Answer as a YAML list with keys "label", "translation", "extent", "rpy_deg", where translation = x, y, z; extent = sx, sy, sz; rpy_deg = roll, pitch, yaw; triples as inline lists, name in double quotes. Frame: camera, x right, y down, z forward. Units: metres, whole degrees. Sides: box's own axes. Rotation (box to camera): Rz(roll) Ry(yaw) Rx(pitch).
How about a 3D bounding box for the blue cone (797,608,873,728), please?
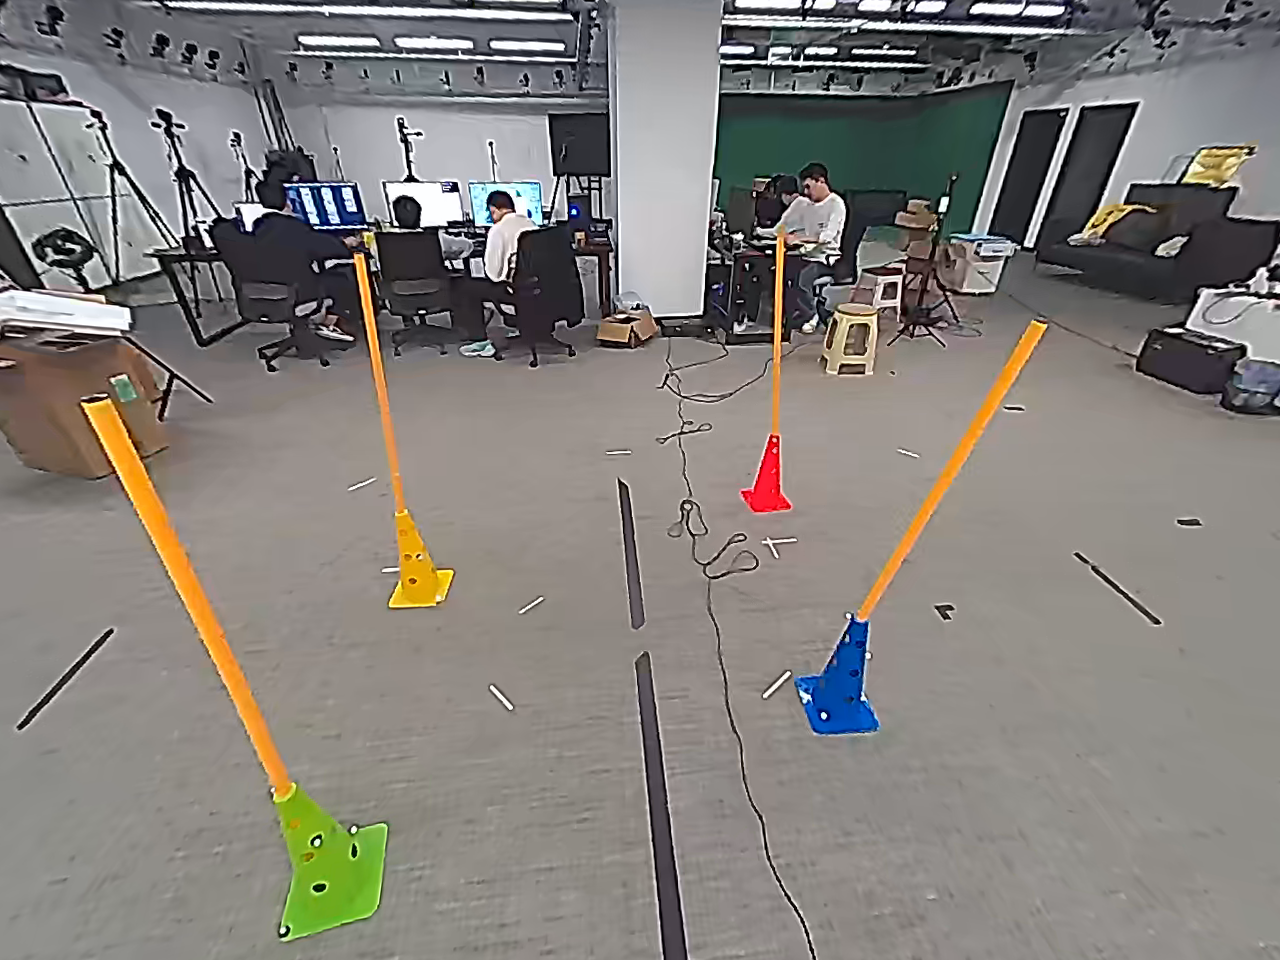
- label: "blue cone"
  translation: [0.591, 0.528, 1.561]
  extent: [0.193, 0.380, 0.192]
  rpy_deg: [-1, 30, -2]

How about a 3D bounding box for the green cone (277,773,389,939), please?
- label: "green cone"
  translation: [-0.692, 0.760, 1.156]
  extent: [0.200, 0.368, 0.202]
  rpy_deg: [-8, 30, -14]

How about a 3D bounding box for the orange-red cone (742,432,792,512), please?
- label: "orange-red cone"
  translation: [0.603, -0.053, 2.508]
  extent: [0.199, 0.360, 0.198]
  rpy_deg: [-7, 31, -8]
